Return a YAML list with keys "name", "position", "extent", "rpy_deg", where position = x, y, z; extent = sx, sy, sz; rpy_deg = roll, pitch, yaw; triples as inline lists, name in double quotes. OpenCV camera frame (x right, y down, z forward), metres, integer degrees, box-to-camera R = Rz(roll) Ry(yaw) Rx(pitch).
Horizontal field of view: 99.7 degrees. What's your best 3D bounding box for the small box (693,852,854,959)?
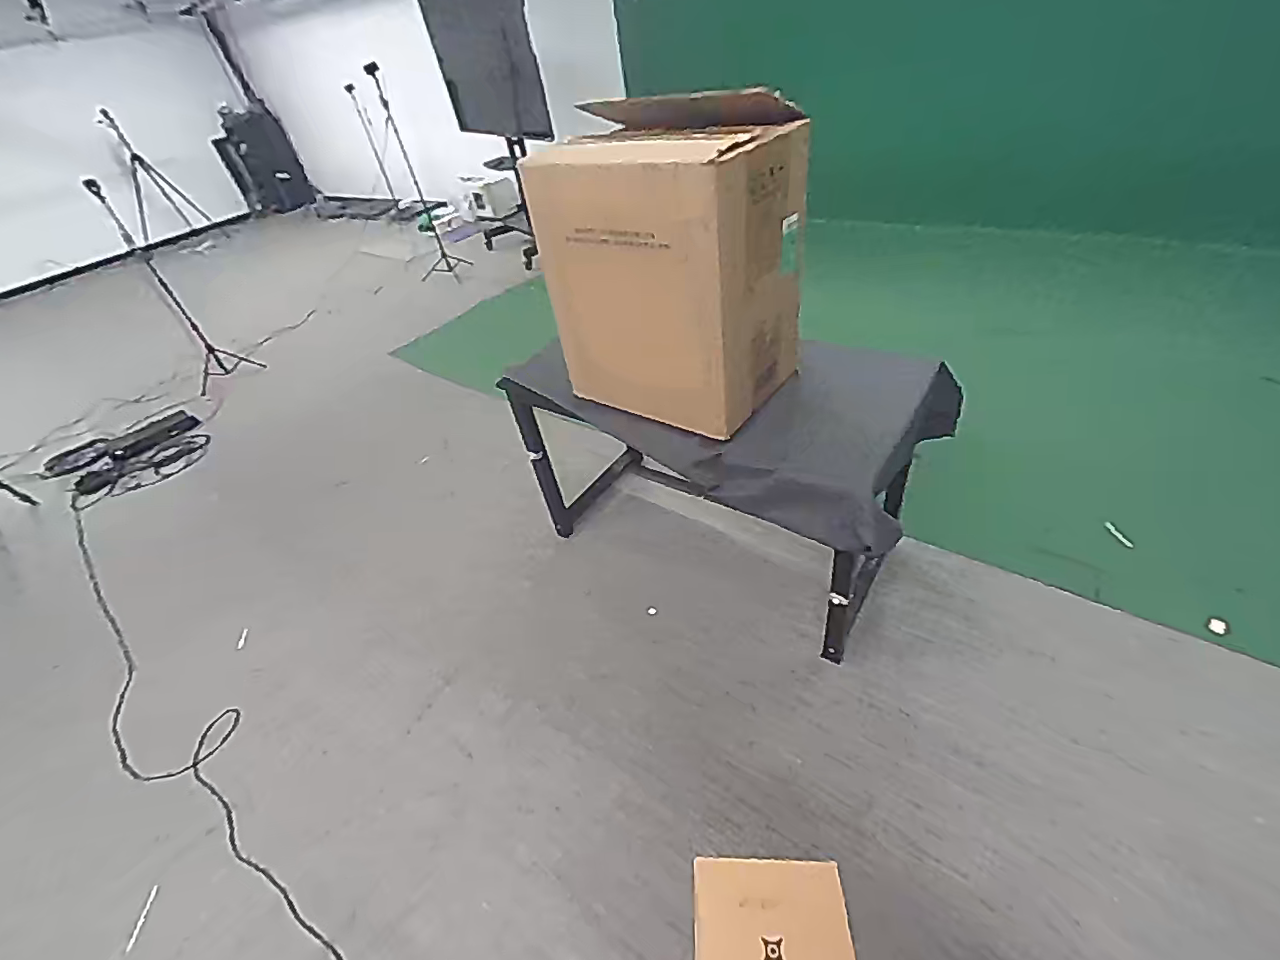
- name: "small box"
  position: [0.146, 0.554, 0.610]
  extent: [0.168, 0.176, 0.179]
  rpy_deg: [-2, 34, 5]
